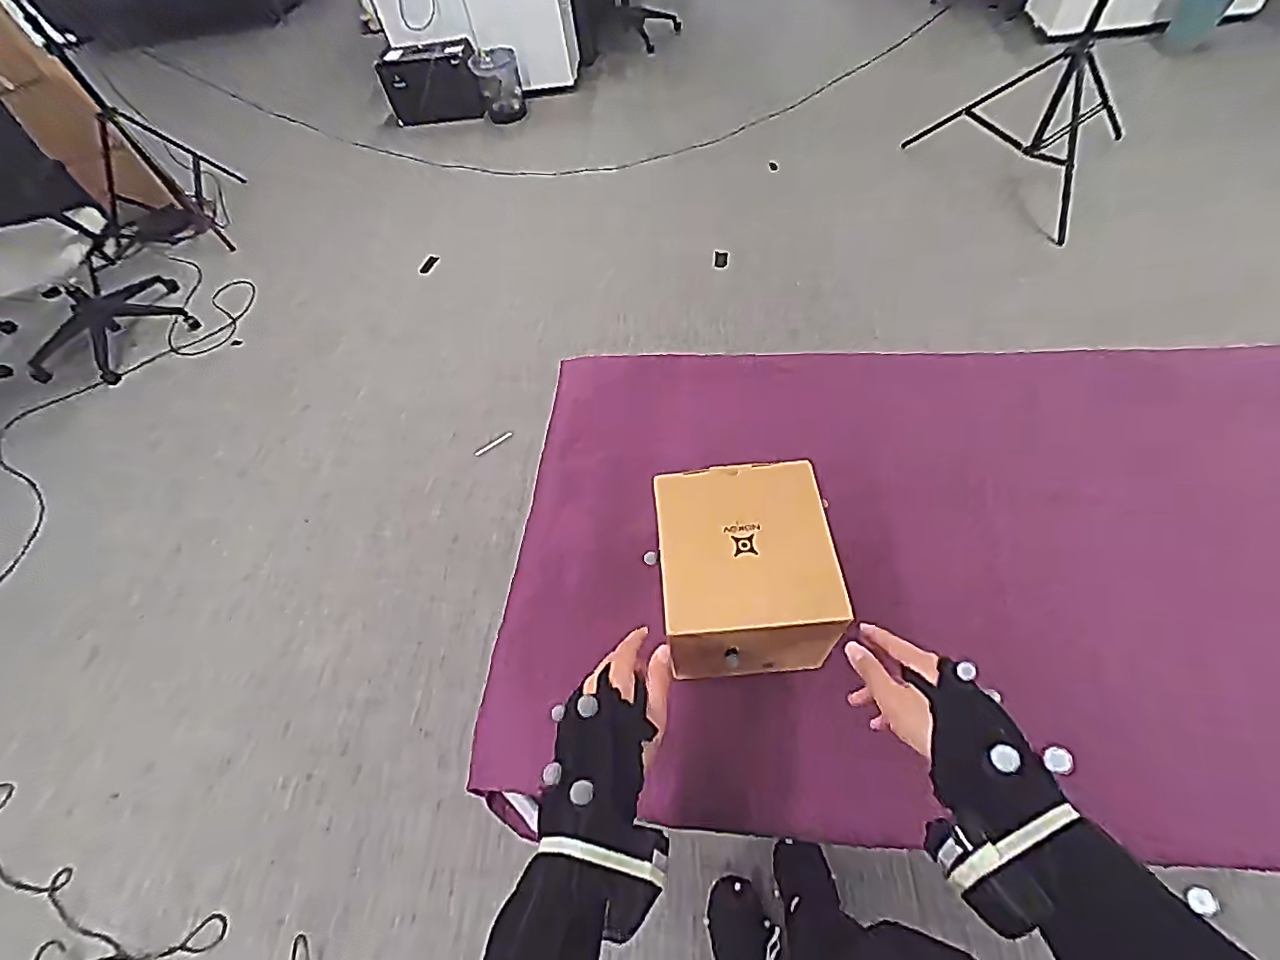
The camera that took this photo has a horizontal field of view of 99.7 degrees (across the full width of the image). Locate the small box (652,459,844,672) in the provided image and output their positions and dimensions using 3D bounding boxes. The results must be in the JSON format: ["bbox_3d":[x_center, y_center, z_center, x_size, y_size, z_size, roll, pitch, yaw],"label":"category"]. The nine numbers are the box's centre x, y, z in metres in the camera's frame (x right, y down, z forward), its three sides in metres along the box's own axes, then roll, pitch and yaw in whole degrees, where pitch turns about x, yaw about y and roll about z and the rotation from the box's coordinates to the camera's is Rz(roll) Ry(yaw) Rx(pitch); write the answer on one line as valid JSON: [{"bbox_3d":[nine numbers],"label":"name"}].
[{"bbox_3d":[0.106,0.102,0.590,0.168,0.176,0.179,-6,55,3],"label":"small box"}]
